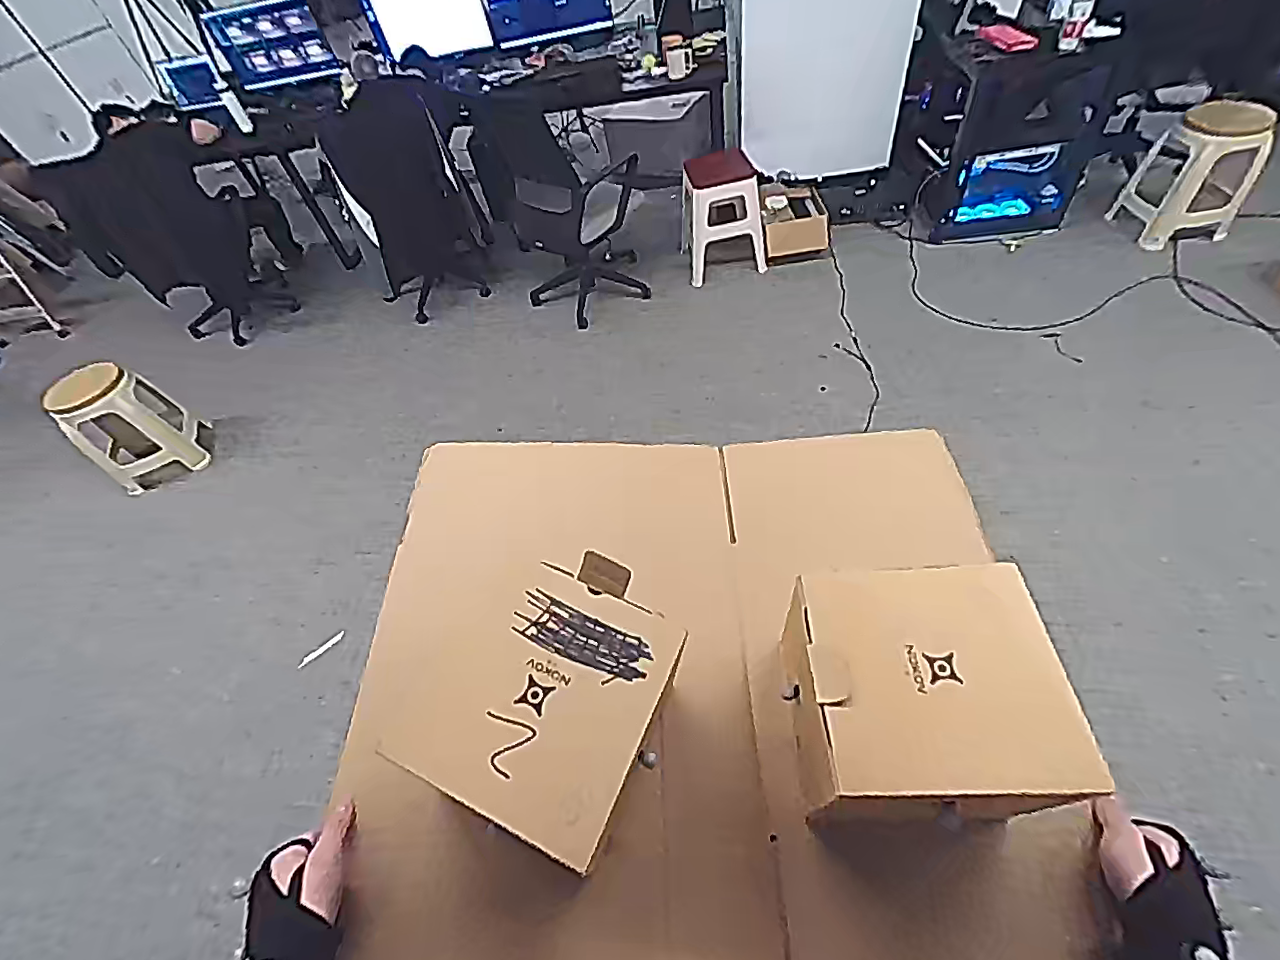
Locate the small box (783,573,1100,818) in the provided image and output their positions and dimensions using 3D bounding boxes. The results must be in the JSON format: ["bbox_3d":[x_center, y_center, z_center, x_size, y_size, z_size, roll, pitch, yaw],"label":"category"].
[{"bbox_3d":[0.233,0.195,0.478,0.179,0.176,0.168,-4,54,6],"label":"small box"}]
